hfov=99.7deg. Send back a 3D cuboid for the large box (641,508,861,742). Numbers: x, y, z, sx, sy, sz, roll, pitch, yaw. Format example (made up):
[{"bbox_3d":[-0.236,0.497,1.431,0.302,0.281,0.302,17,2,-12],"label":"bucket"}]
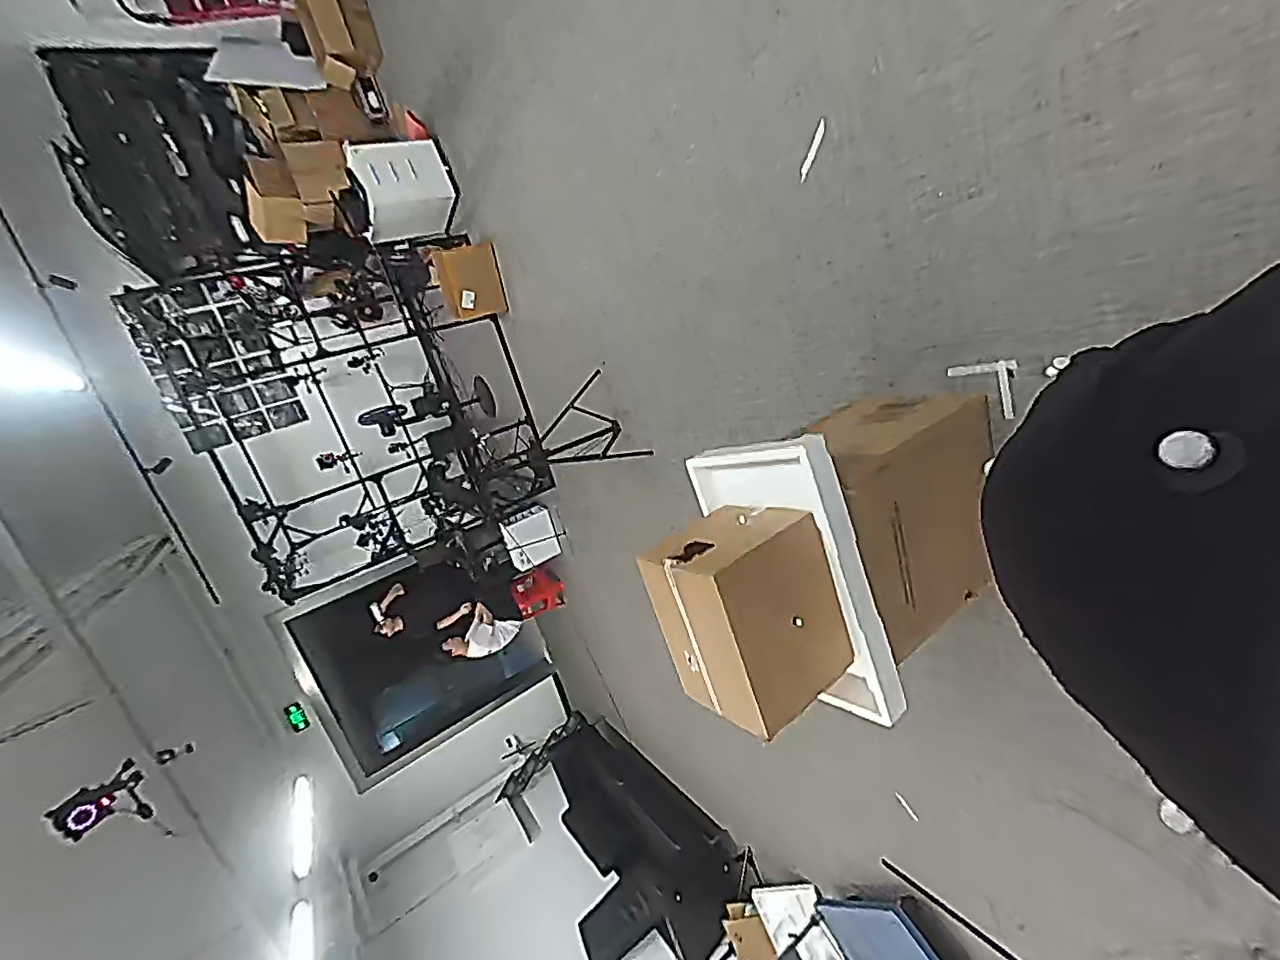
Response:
[{"bbox_3d":[0.263,0.310,1.289,0.320,0.320,0.408,1,115,61],"label":"large box"}]
